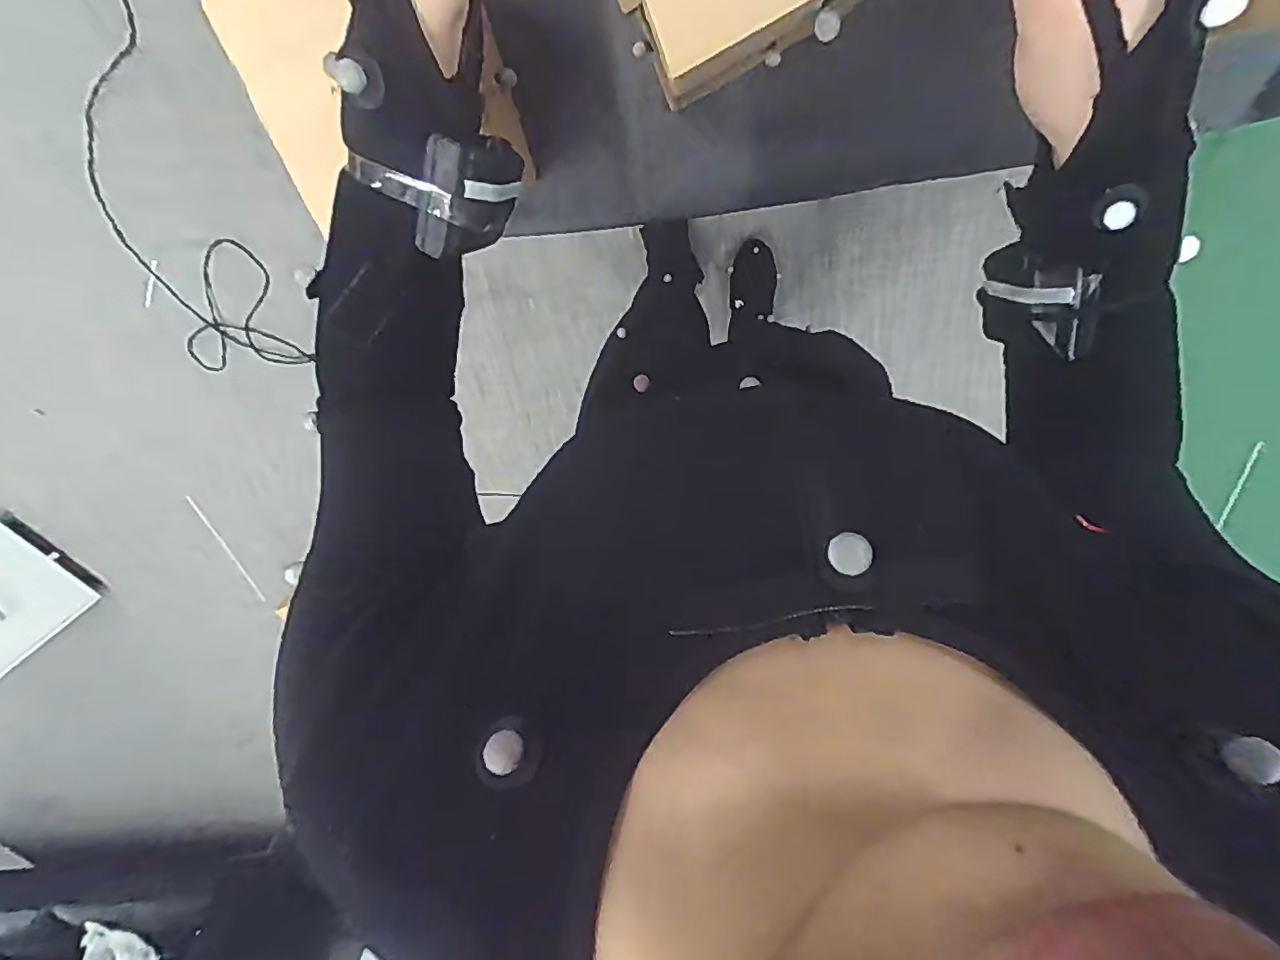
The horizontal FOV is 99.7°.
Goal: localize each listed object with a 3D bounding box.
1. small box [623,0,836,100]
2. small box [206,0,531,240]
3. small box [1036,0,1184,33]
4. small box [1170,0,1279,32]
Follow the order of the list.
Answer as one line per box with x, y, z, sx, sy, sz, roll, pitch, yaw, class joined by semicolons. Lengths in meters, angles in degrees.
0.063;-0.429;0.422;0.179;0.176;0.168;-22;119;15;small box
-0.217;-0.338;0.492;0.168;0.176;0.179;-11;120;11;small box
0.433;-0.452;0.383;0.168;0.176;0.179;7;122;0;small box
0.431;-0.346;0.256;0.179;0.176;0.168;-7;120;9;small box
